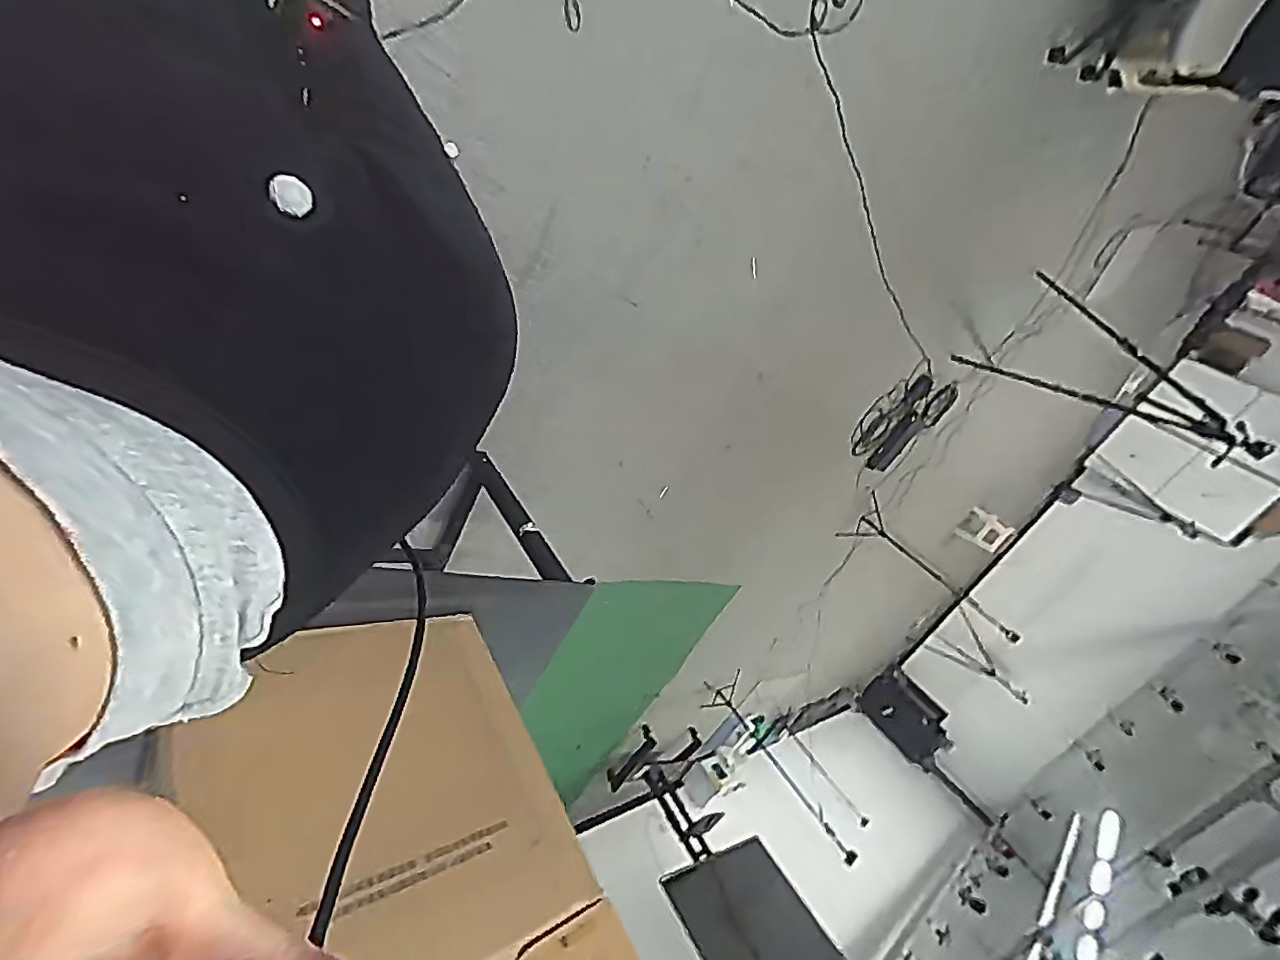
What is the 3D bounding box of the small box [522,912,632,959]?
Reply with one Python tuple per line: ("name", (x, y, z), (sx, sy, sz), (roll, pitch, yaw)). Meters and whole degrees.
("small box", (-0.106, 0.797, 0.805), (0.168, 0.176, 0.179), (6, 121, -45))
